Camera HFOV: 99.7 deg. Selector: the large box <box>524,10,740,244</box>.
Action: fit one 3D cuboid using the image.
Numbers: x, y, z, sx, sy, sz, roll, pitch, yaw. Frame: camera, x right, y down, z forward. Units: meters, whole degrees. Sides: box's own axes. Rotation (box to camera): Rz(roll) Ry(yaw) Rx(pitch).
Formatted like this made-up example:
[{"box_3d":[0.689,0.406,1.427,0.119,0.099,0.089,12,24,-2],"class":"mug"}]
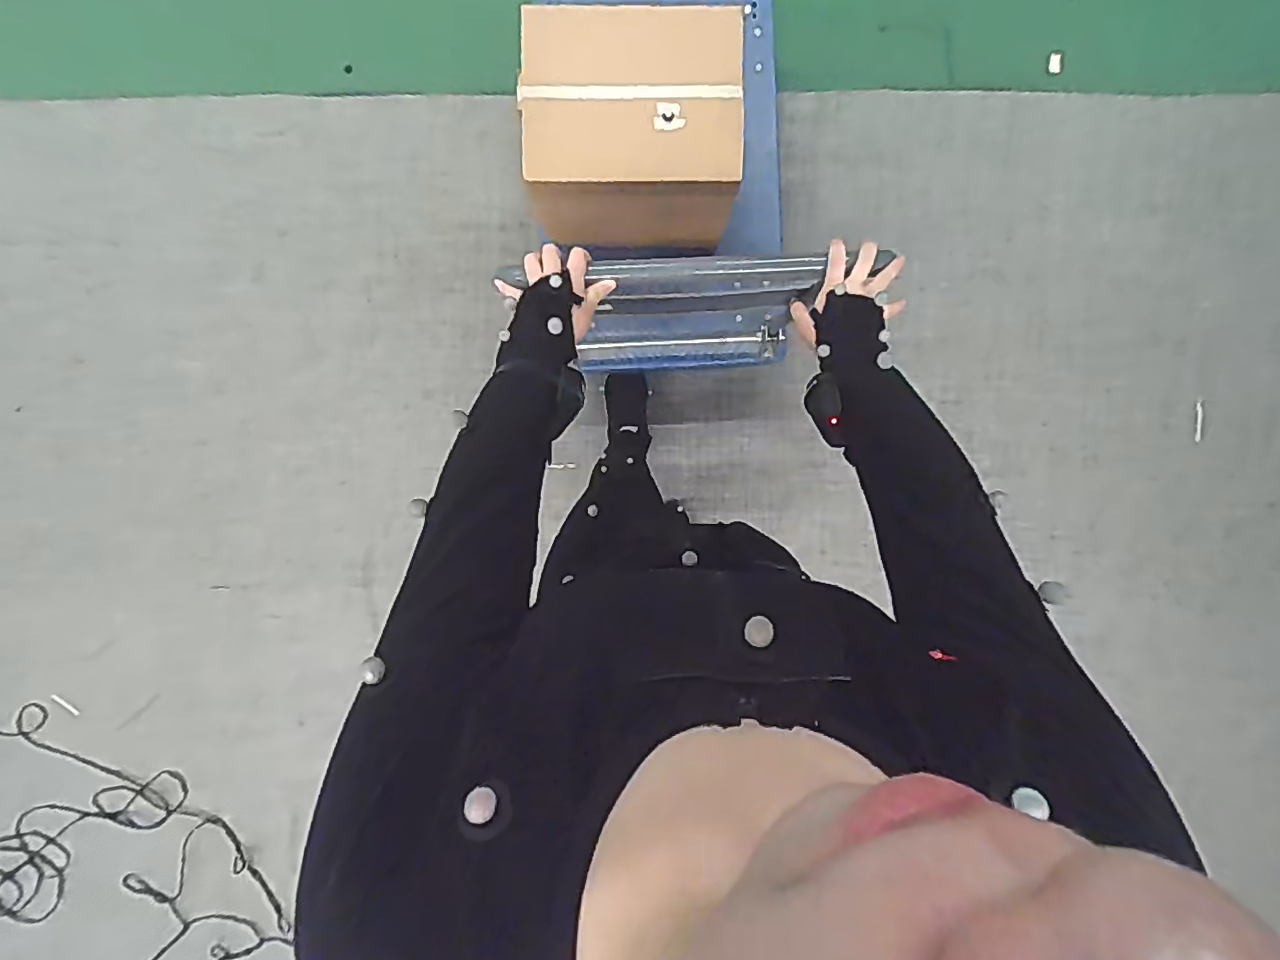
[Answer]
[{"box_3d":[-0.018,-0.717,1.148,0.408,0.320,0.320,0,92,-1],"class":"large box"}]
